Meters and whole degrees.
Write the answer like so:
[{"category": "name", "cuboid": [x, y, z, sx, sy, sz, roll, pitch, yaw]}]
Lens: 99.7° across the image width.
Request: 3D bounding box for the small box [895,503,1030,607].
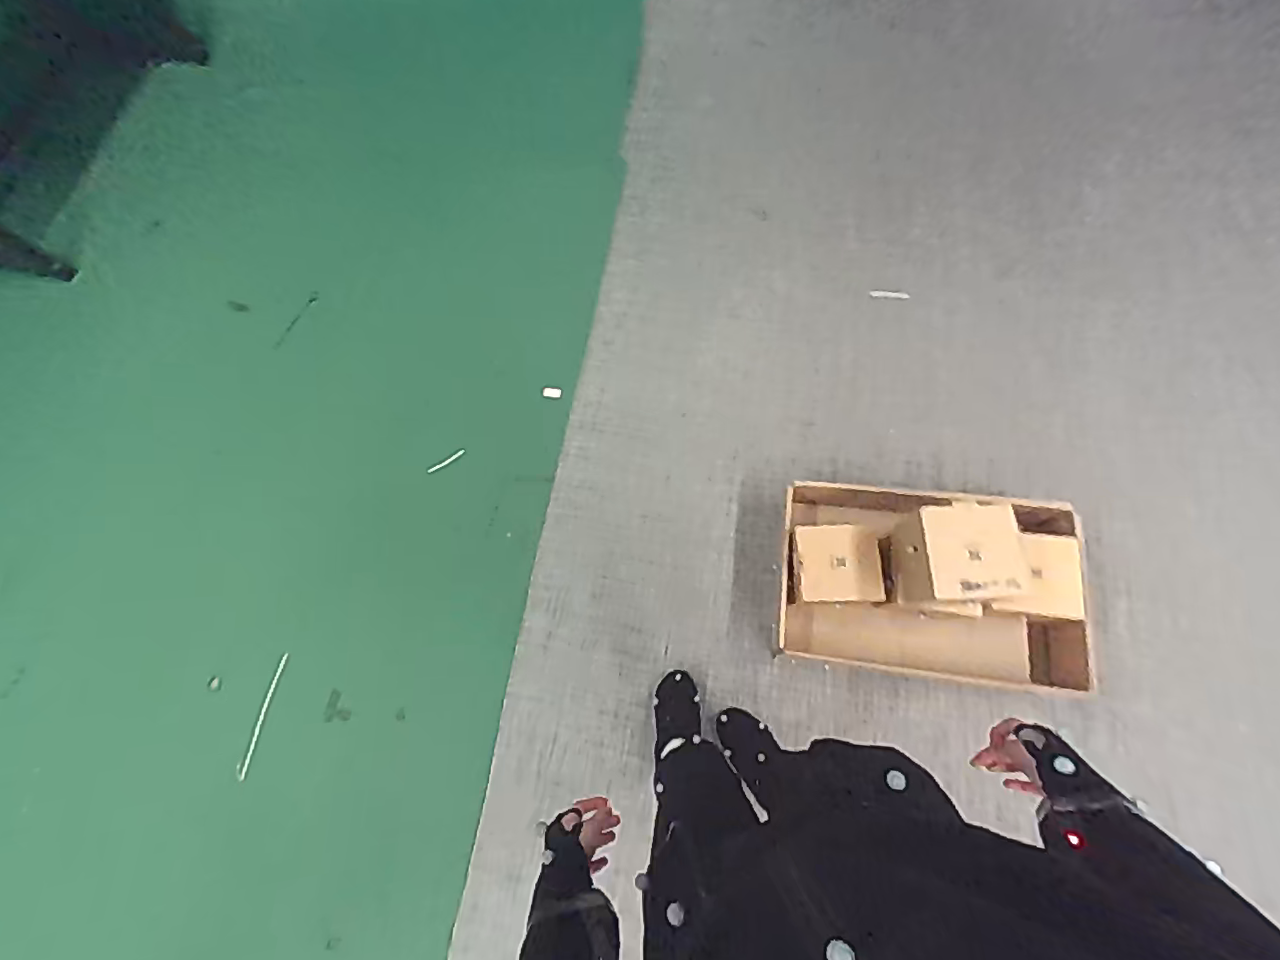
[{"category": "small box", "cuboid": [0.623, 0.154, 1.071, 0.168, 0.176, 0.179, -3, 72, 8]}]
